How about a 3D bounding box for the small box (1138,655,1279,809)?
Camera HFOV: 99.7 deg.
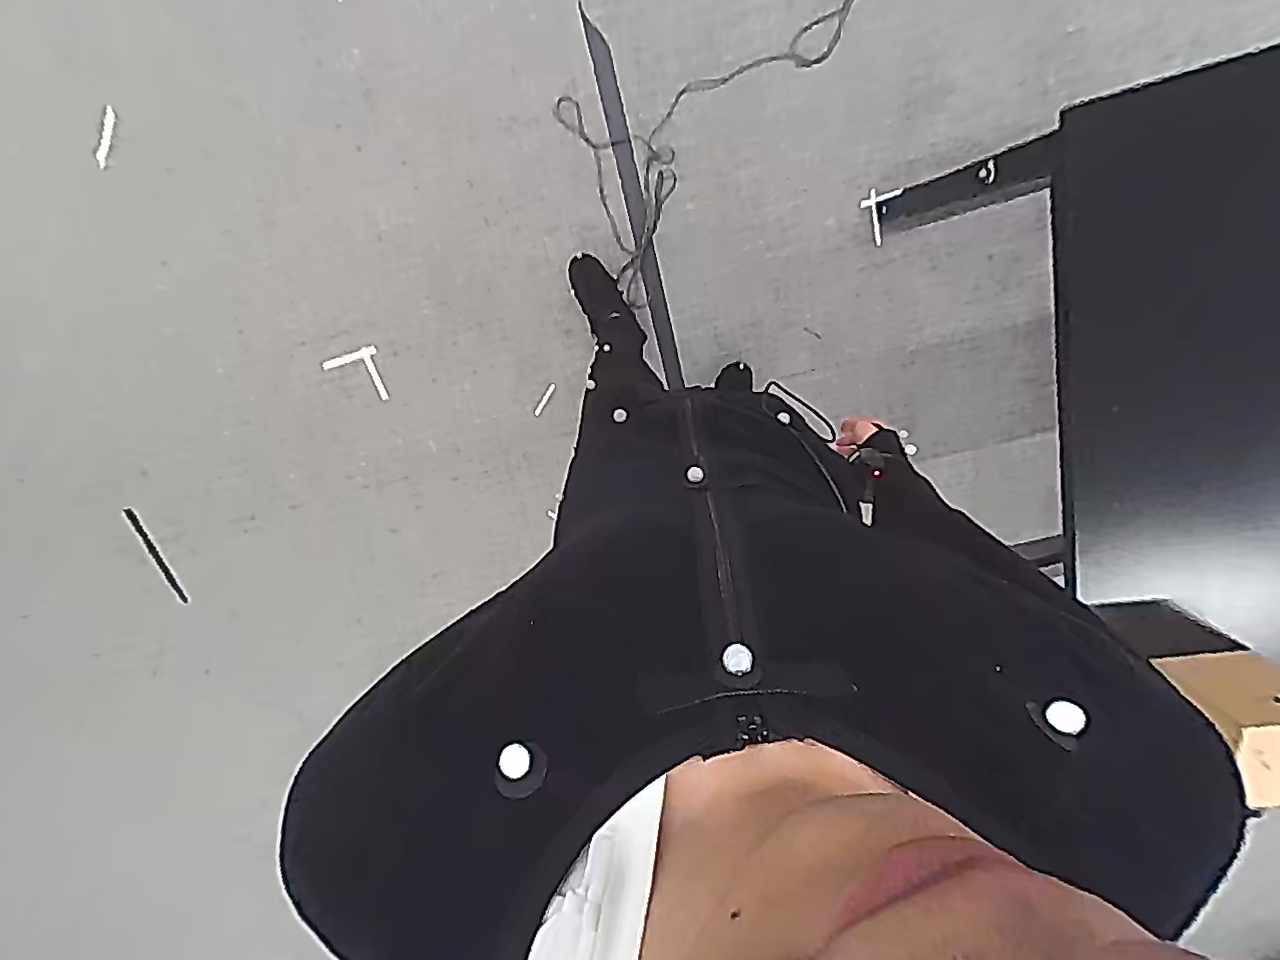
[{"bbox_3d":[1.008,0.414,0.910,0.179,0.176,0.168,-7,108,4],"label":"small box"}]
